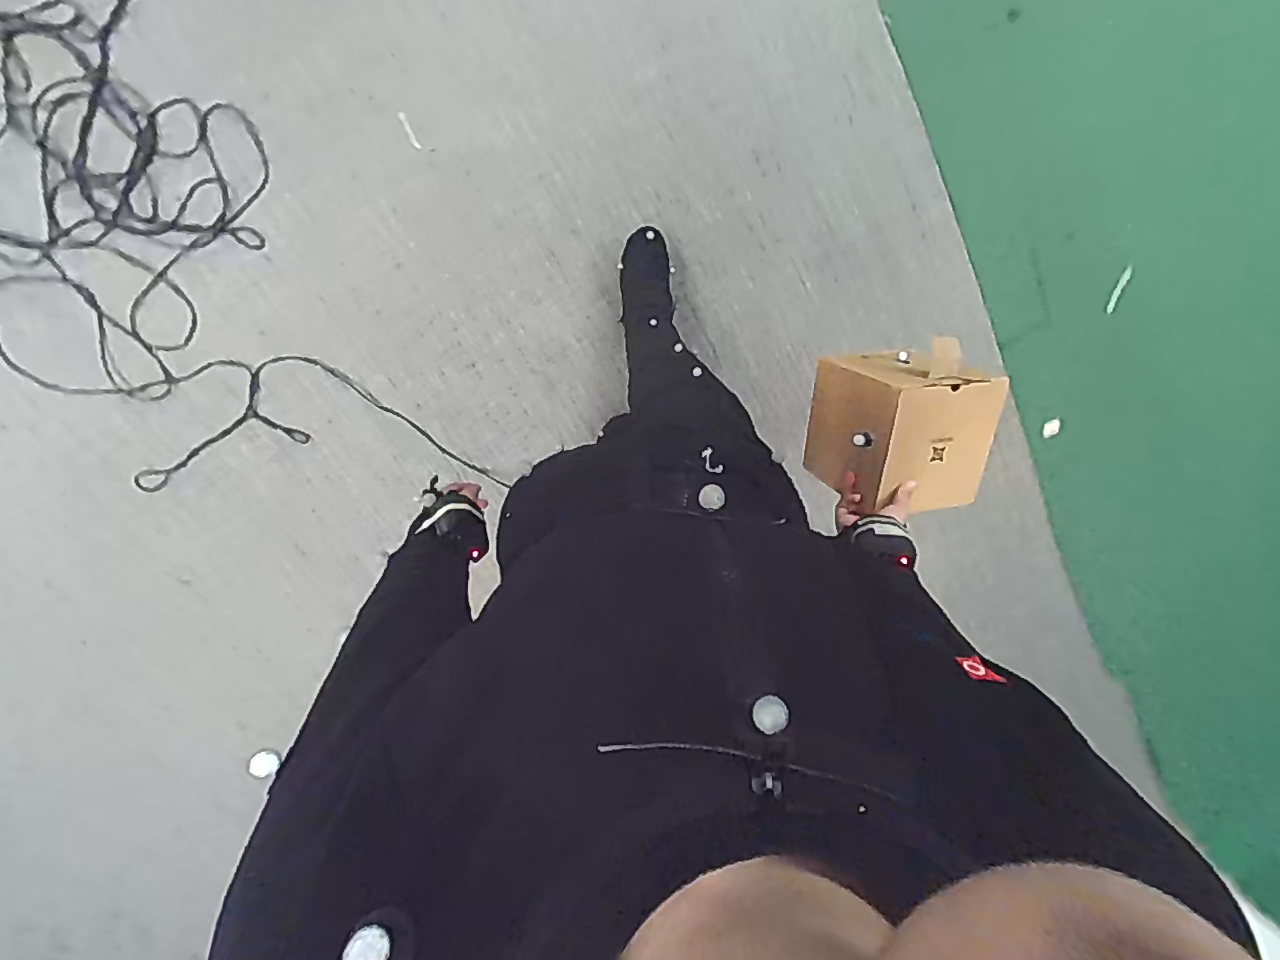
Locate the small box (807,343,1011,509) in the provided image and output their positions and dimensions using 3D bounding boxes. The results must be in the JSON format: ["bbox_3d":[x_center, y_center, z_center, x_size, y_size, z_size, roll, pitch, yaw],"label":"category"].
[{"bbox_3d":[0.350,-0.082,0.741,0.168,0.176,0.179,-8,116,-16],"label":"small box"}]
